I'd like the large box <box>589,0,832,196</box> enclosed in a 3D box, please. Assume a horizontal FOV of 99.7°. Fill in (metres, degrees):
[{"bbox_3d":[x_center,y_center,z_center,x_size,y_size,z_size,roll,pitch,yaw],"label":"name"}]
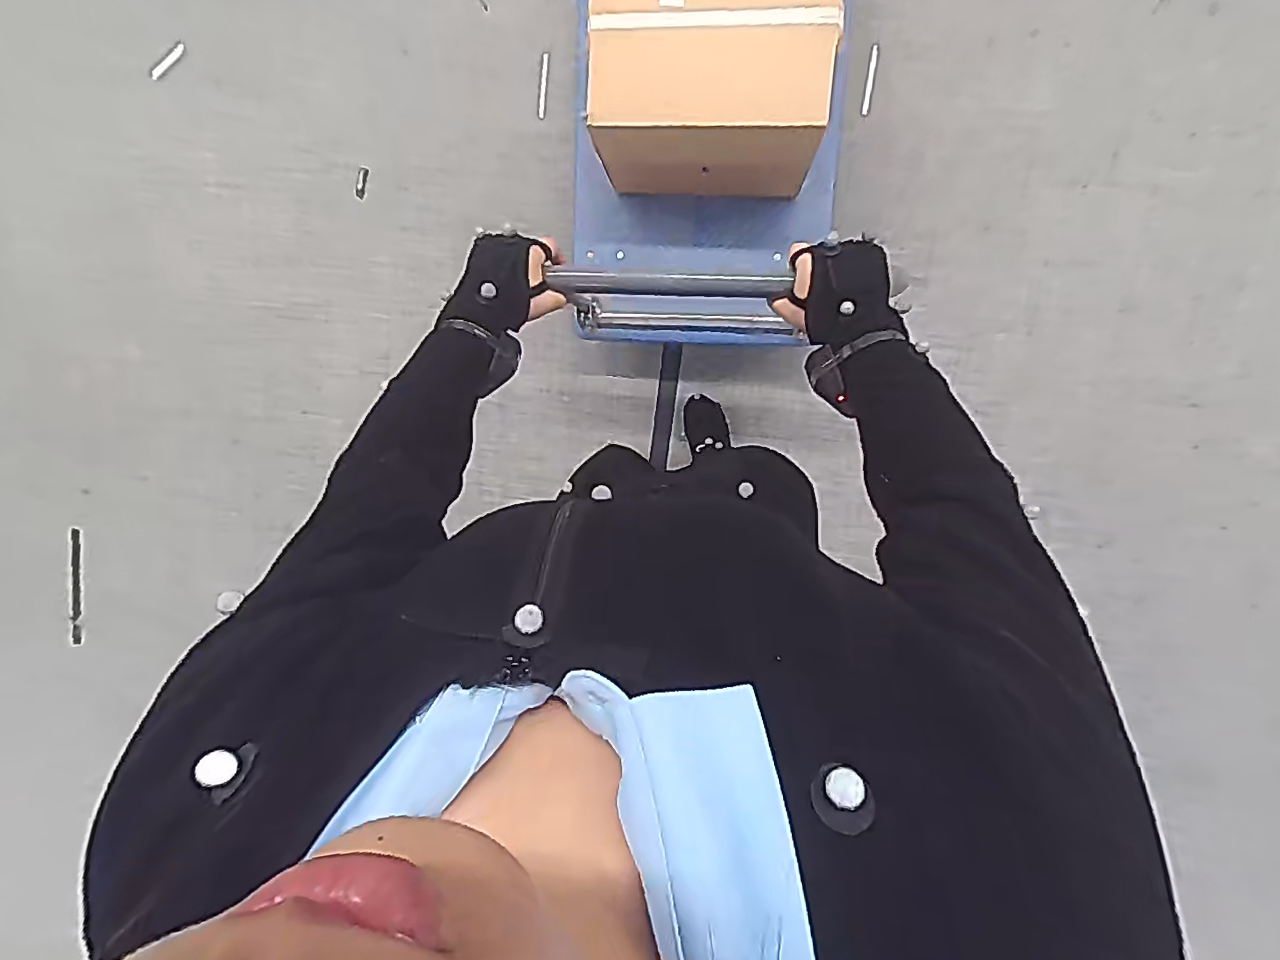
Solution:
[{"bbox_3d":[0.135,-0.769,1.051,0.408,0.320,0.320,4,97,7],"label":"large box"}]
